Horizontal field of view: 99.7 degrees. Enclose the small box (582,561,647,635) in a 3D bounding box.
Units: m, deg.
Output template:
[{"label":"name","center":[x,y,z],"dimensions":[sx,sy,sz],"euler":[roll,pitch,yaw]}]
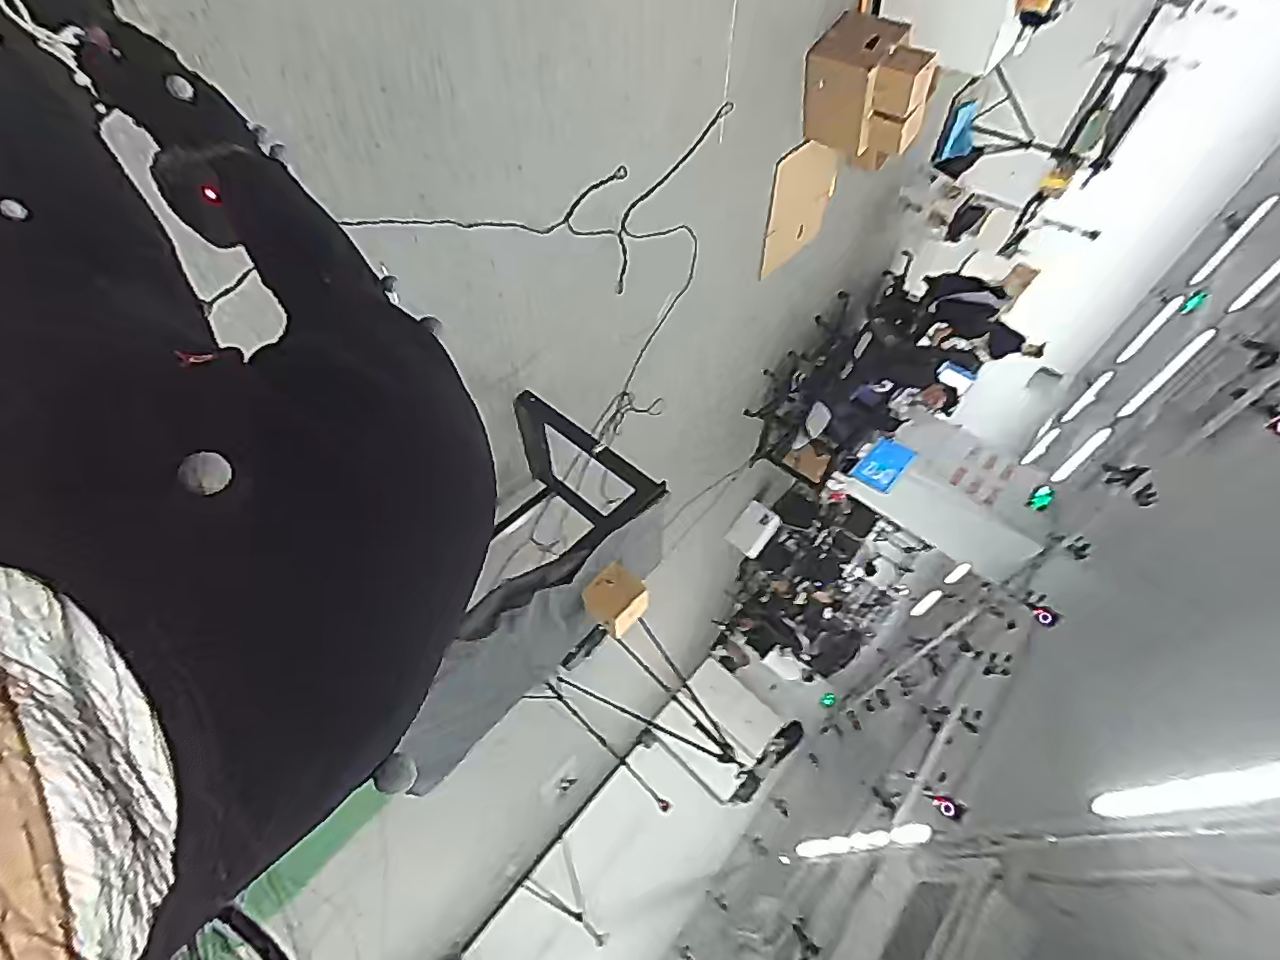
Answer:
[{"label":"small box","center":[-0.091,0.422,1.953],"dimensions":[0.168,0.176,0.179],"euler":[-41,154,-25]}]
